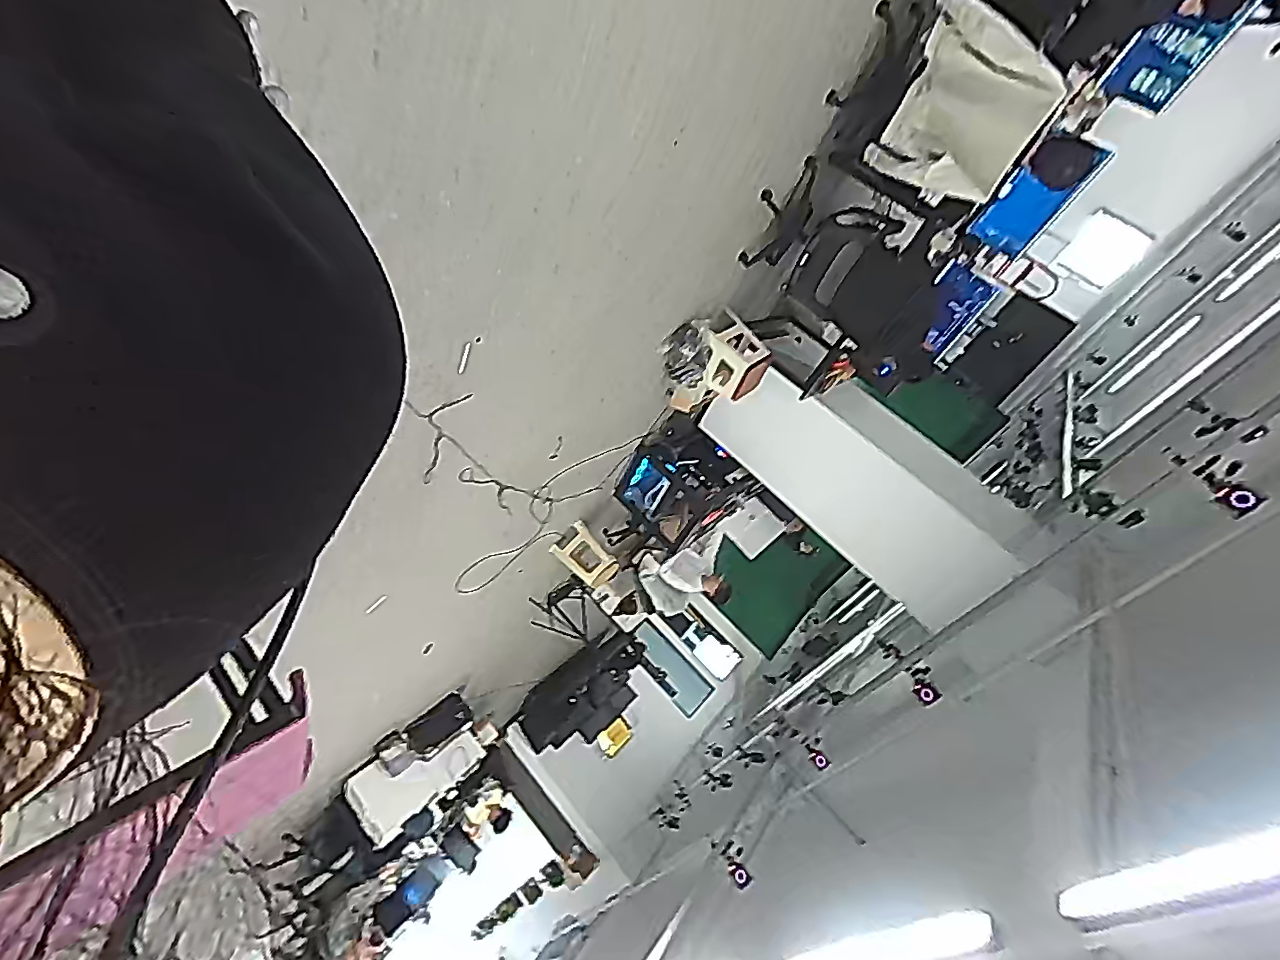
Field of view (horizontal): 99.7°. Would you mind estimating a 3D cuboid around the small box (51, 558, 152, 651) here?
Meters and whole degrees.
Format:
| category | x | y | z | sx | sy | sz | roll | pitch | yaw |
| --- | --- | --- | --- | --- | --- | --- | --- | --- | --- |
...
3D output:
| category | x | y | z | sx | sy | sz | roll | pitch | yaw |
| --- | --- | --- | --- | --- | --- | --- | --- | --- | --- |
| small box | -1.578 | 0.361 | 1.589 | 0.168 | 0.176 | 0.179 | -25 | 154 | -50 |
